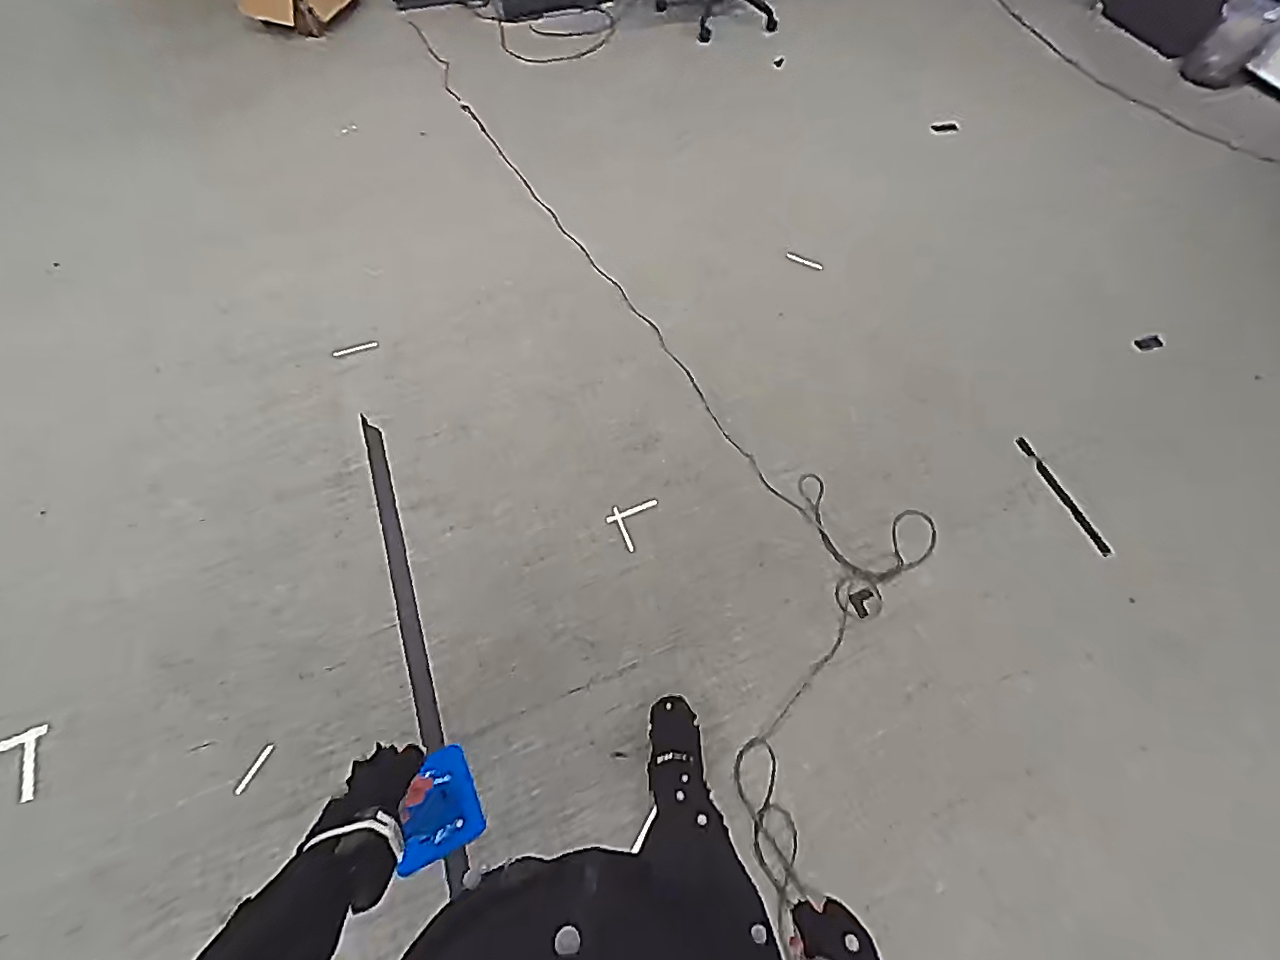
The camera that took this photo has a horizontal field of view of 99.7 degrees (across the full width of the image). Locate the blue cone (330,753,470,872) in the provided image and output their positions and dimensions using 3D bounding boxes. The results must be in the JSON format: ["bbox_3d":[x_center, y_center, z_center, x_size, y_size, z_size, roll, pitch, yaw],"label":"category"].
[{"bbox_3d":[-0.481,0.652,1.049,0.192,0.380,0.193,-22,65,-11],"label":"blue cone"}]
